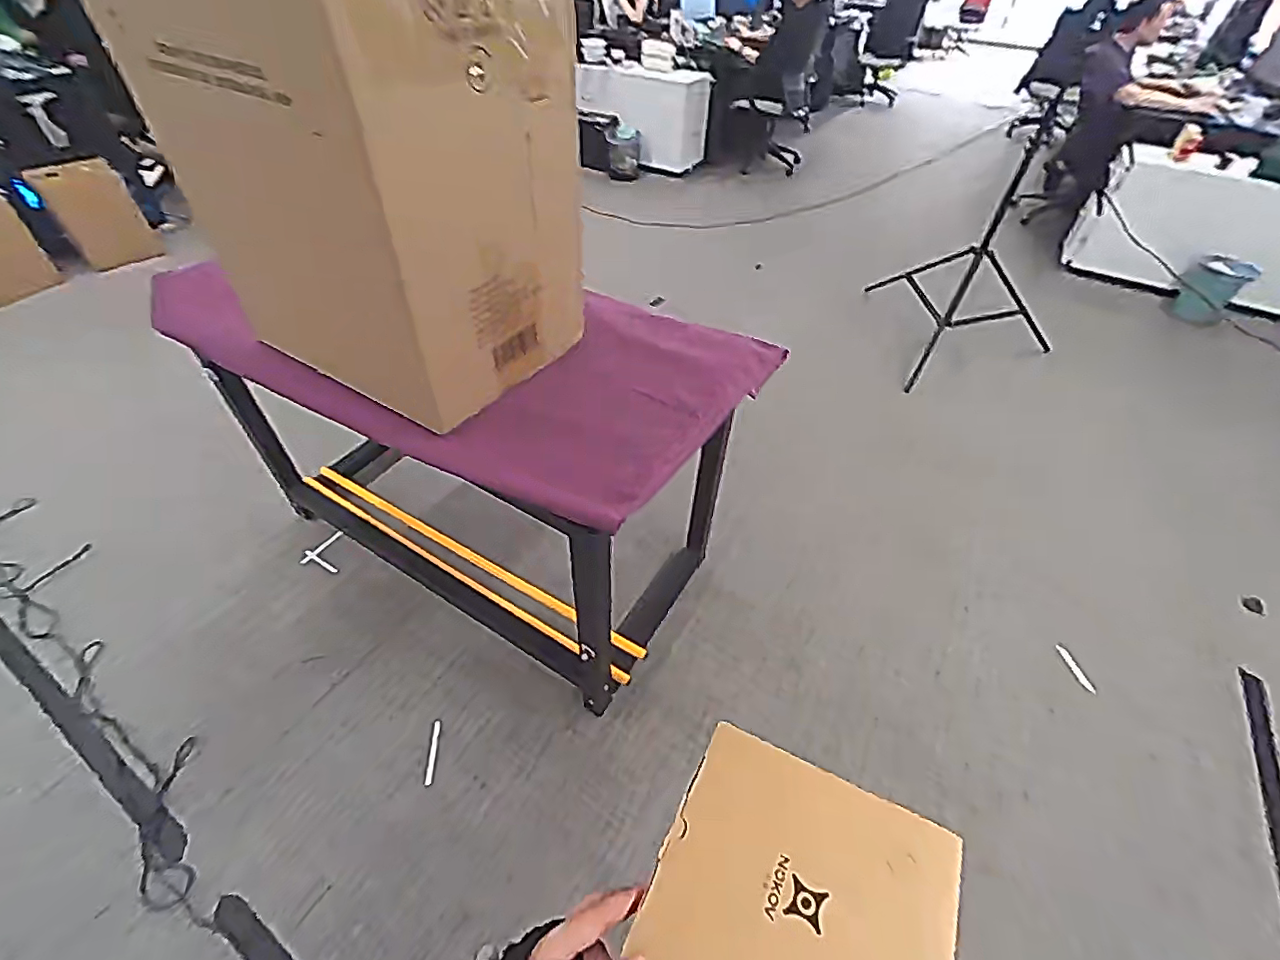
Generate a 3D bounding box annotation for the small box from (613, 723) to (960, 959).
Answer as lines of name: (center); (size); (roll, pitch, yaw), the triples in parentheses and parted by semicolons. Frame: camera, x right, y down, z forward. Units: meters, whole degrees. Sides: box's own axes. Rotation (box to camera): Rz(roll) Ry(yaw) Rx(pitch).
small box: (0.099, 0.319, 0.387); (0.179, 0.176, 0.168); (17, 44, 22)
